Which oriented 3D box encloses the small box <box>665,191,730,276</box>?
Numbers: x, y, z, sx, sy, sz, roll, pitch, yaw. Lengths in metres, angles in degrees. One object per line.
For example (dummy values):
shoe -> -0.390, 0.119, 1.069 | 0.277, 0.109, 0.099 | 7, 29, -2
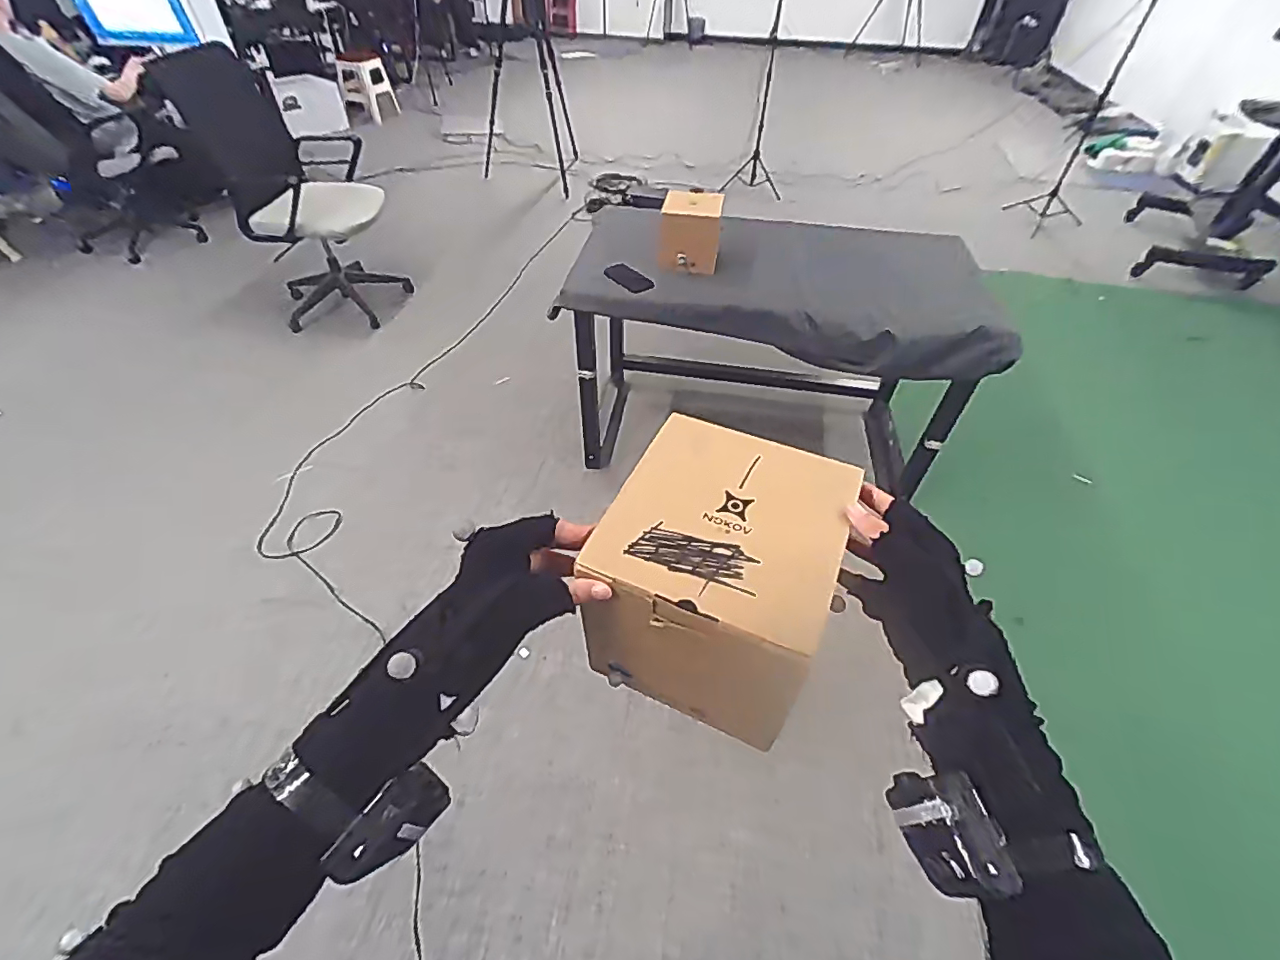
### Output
small box -> 0.166, -0.725, 1.588 | 0.168, 0.176, 0.179 | 7, 48, 6
